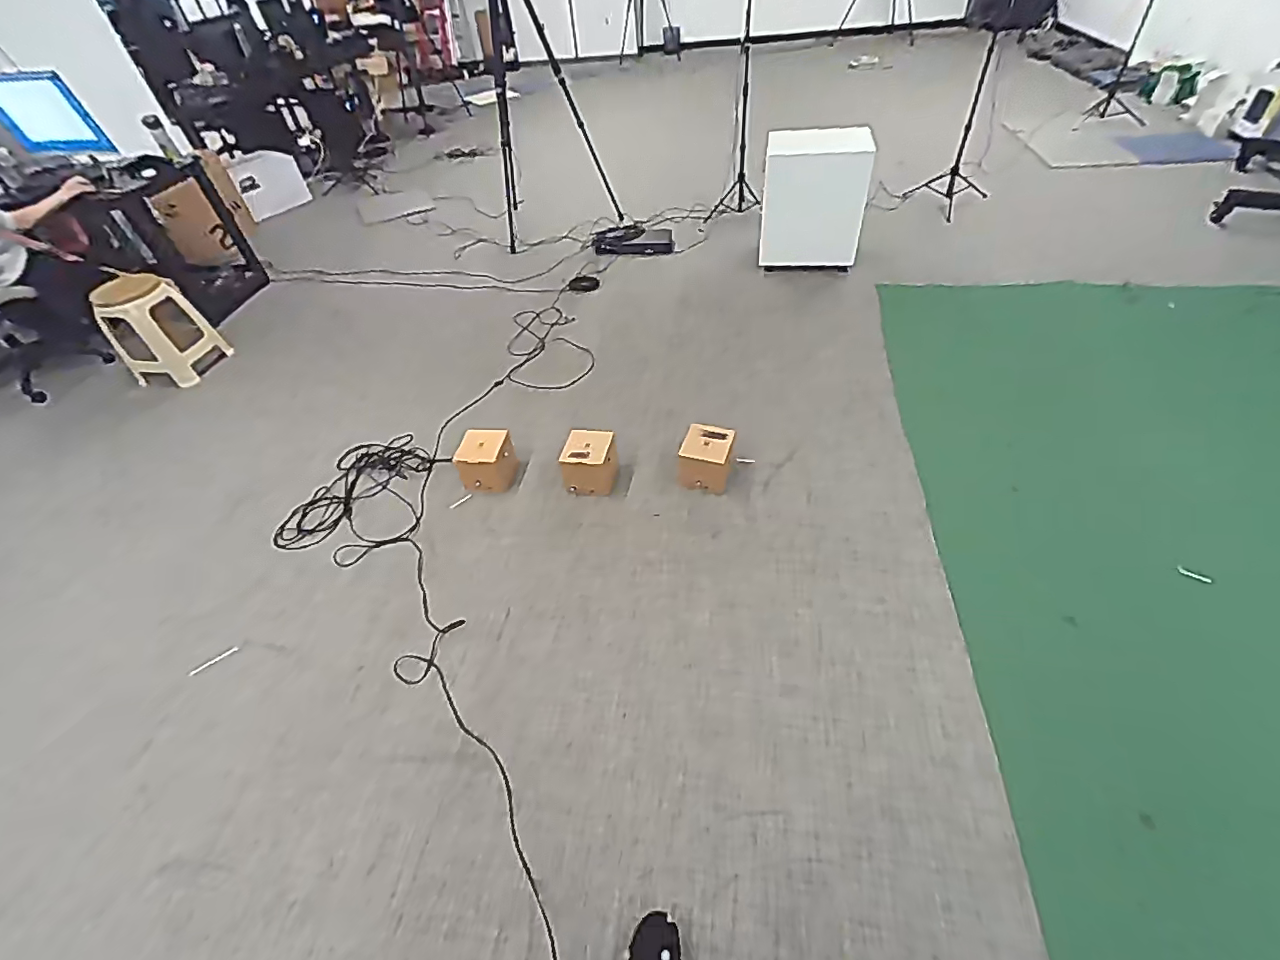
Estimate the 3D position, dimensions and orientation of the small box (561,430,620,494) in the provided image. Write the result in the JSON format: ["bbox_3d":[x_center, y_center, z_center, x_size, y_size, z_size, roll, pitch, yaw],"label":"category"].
[{"bbox_3d":[-0.178,-0.065,2.017,0.168,0.176,0.179,6,47,13],"label":"small box"}]

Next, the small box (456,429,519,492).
[{"bbox_3d":[-0.576,-0.076,2.080,0.168,0.176,0.179,2,48,9],"label":"small box"}]
